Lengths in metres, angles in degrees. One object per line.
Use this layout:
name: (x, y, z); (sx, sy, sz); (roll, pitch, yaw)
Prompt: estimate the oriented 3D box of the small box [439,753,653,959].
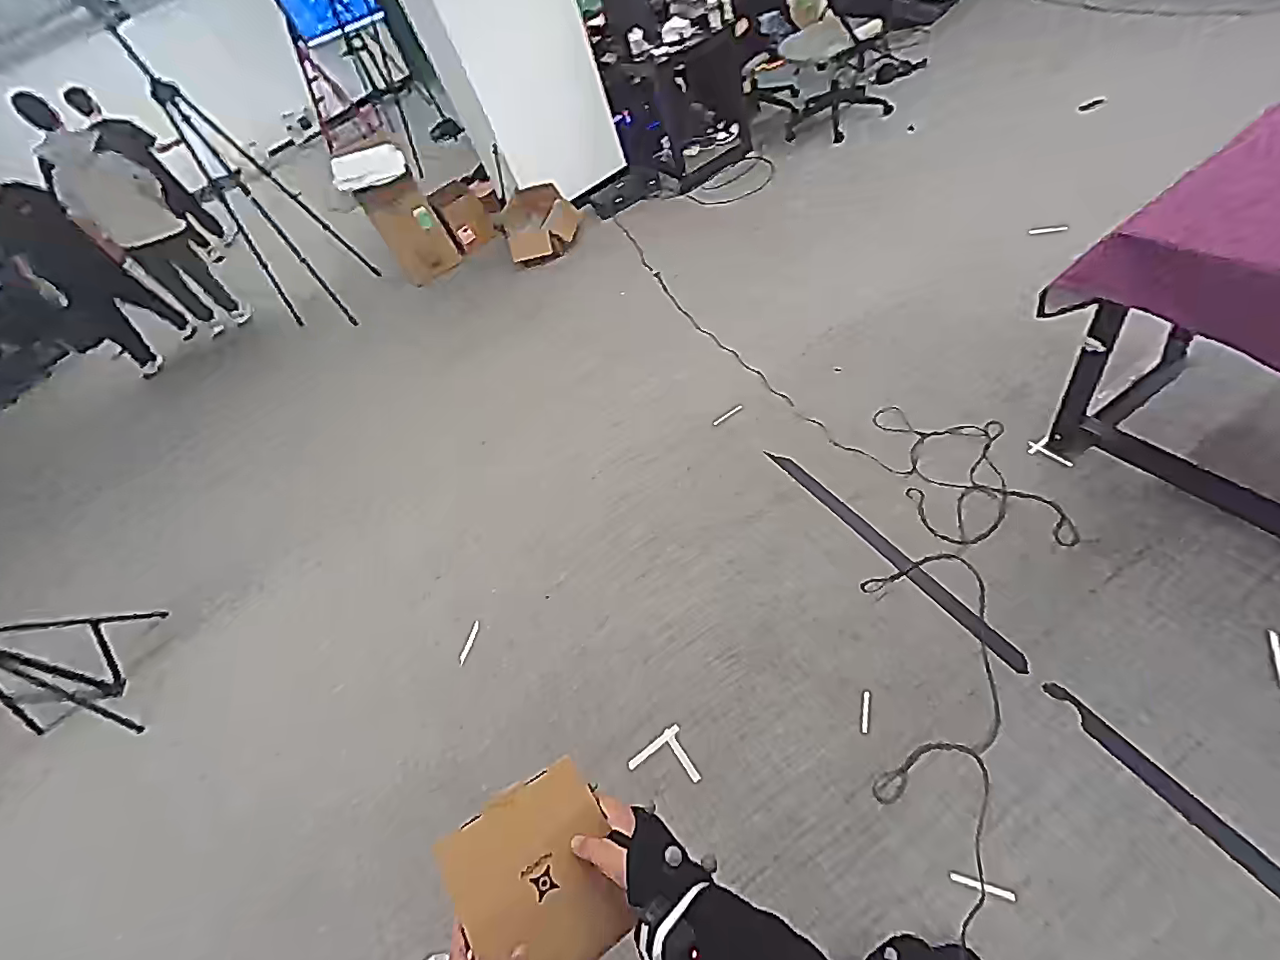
small box: (-0.107, 0.453, 0.618); (0.168, 0.176, 0.179); (-23, 59, -26)
